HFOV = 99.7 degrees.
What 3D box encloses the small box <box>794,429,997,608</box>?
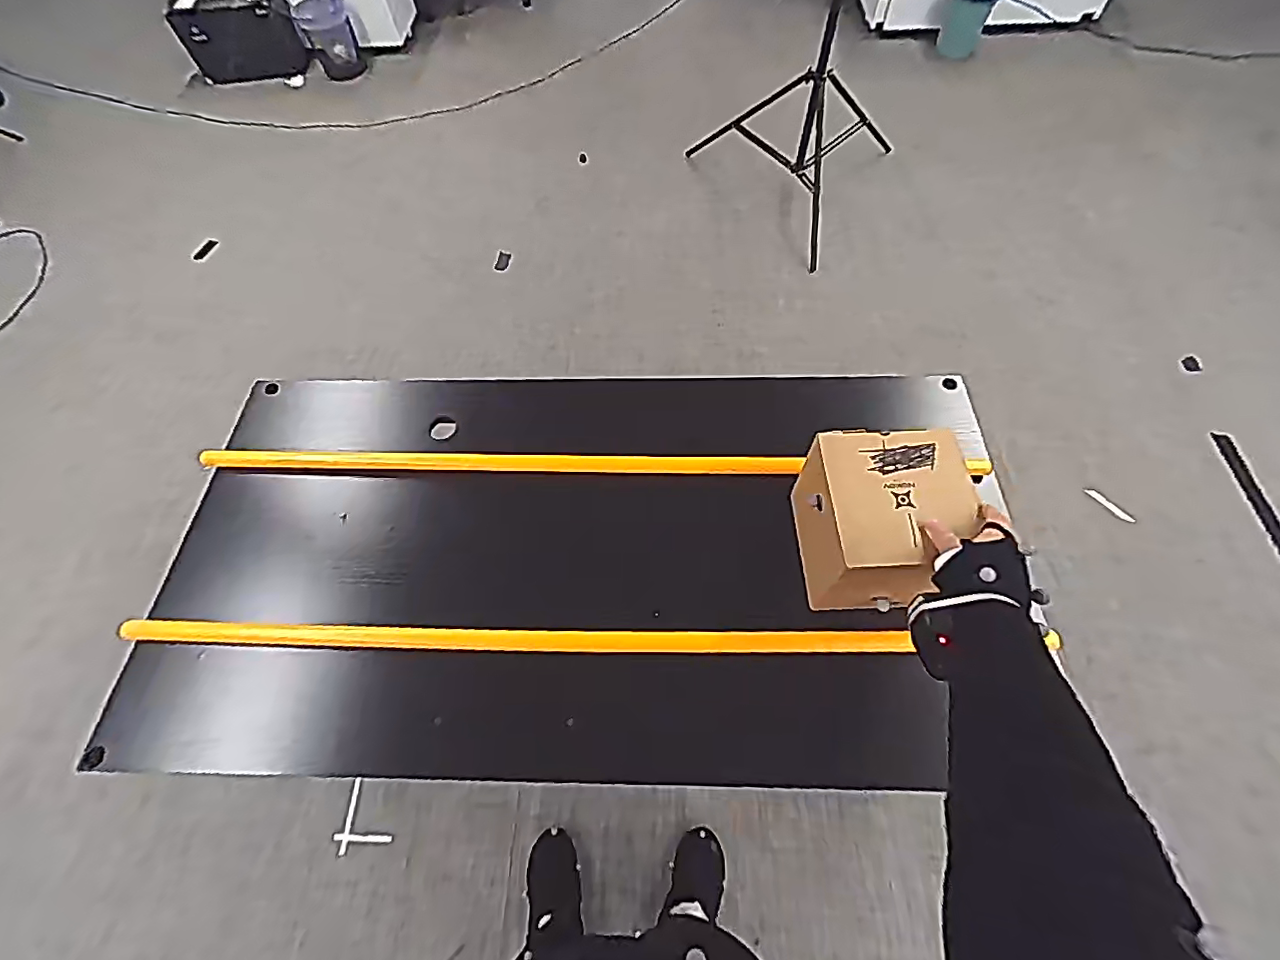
[{"bbox_3d":[0.304,0.054,0.690,0.168,0.176,0.179,-2,61,2],"label":"small box"}]
